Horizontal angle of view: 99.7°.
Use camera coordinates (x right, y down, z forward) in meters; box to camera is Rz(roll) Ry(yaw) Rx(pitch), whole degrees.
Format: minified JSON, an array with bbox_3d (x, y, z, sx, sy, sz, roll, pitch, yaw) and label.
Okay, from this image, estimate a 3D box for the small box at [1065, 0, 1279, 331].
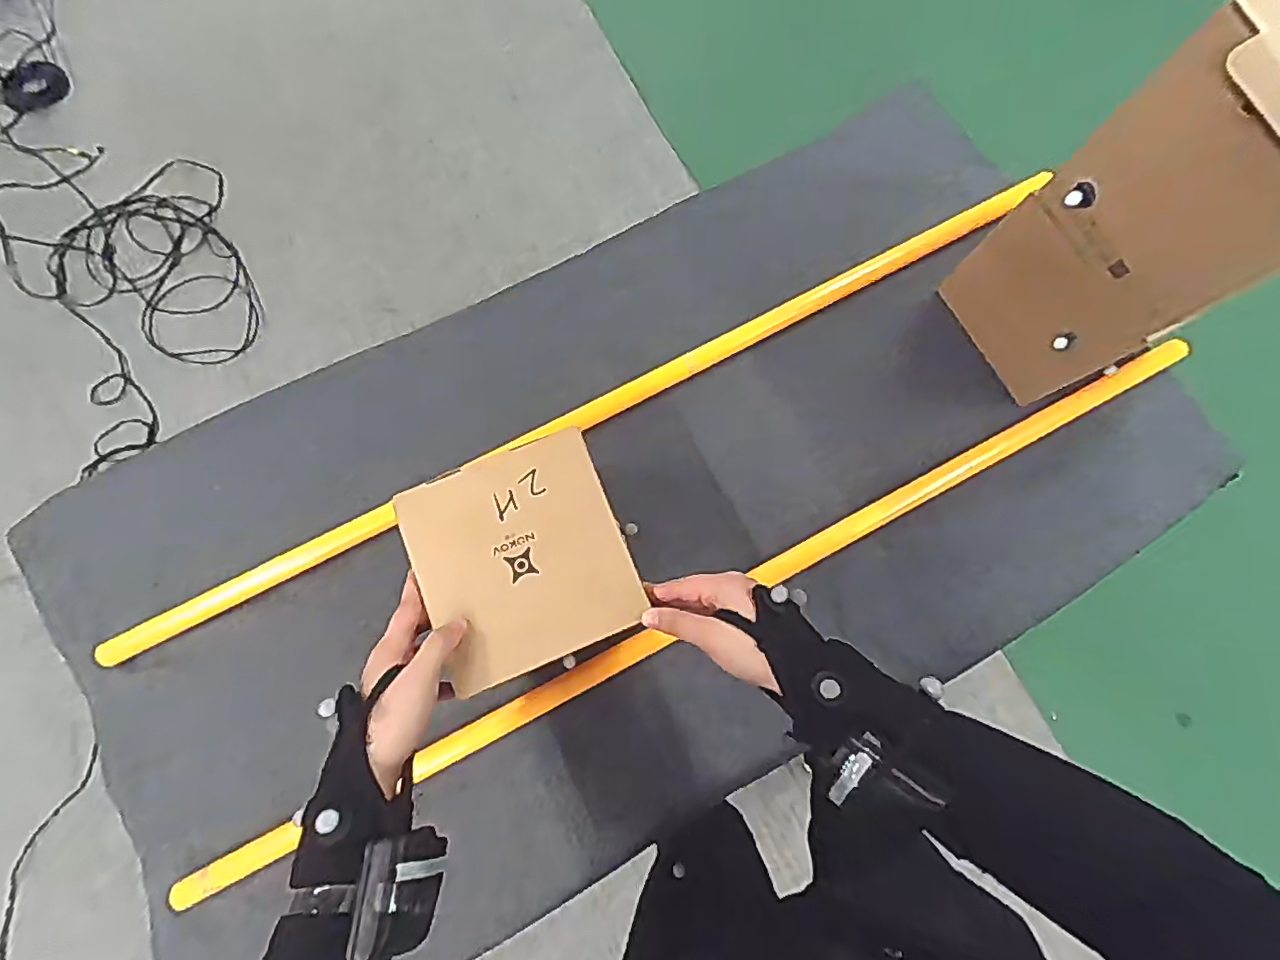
[{"bbox_3d":[0.478,-0.241,0.409,0.179,0.176,0.168,-23,79,-5],"label":"small box"}]
